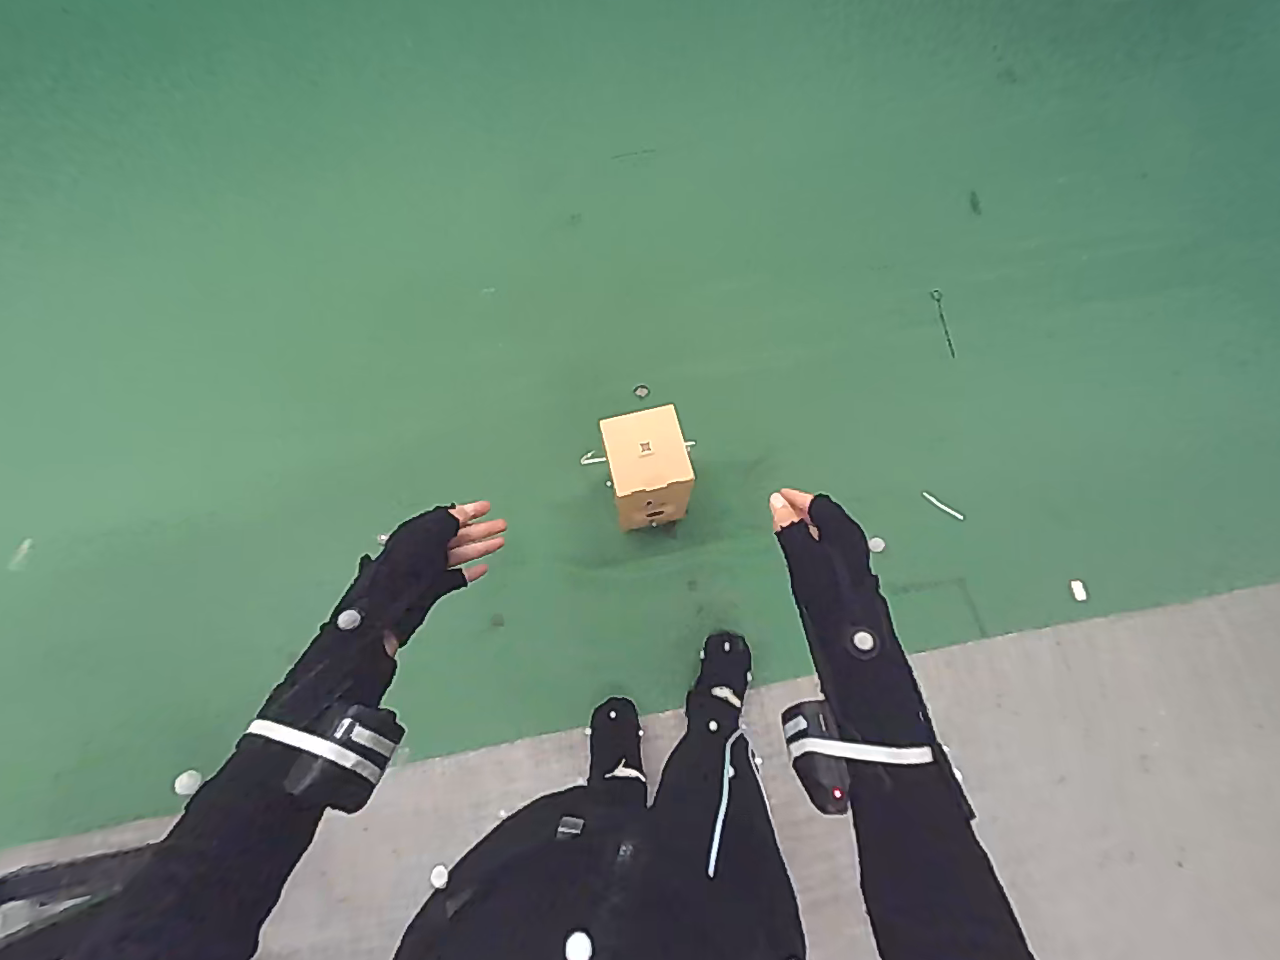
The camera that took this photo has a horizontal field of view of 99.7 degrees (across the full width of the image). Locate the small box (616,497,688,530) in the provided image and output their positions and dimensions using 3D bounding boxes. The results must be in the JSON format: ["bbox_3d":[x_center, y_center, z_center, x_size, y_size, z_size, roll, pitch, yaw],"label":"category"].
[{"bbox_3d":[0.017,0.011,1.365,0.168,0.176,0.179,-12,72,-3],"label":"small box"}]

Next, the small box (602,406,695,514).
[{"bbox_3d":[0.014,-0.040,1.210,0.168,0.176,0.179,-13,73,-5],"label":"small box"}]
